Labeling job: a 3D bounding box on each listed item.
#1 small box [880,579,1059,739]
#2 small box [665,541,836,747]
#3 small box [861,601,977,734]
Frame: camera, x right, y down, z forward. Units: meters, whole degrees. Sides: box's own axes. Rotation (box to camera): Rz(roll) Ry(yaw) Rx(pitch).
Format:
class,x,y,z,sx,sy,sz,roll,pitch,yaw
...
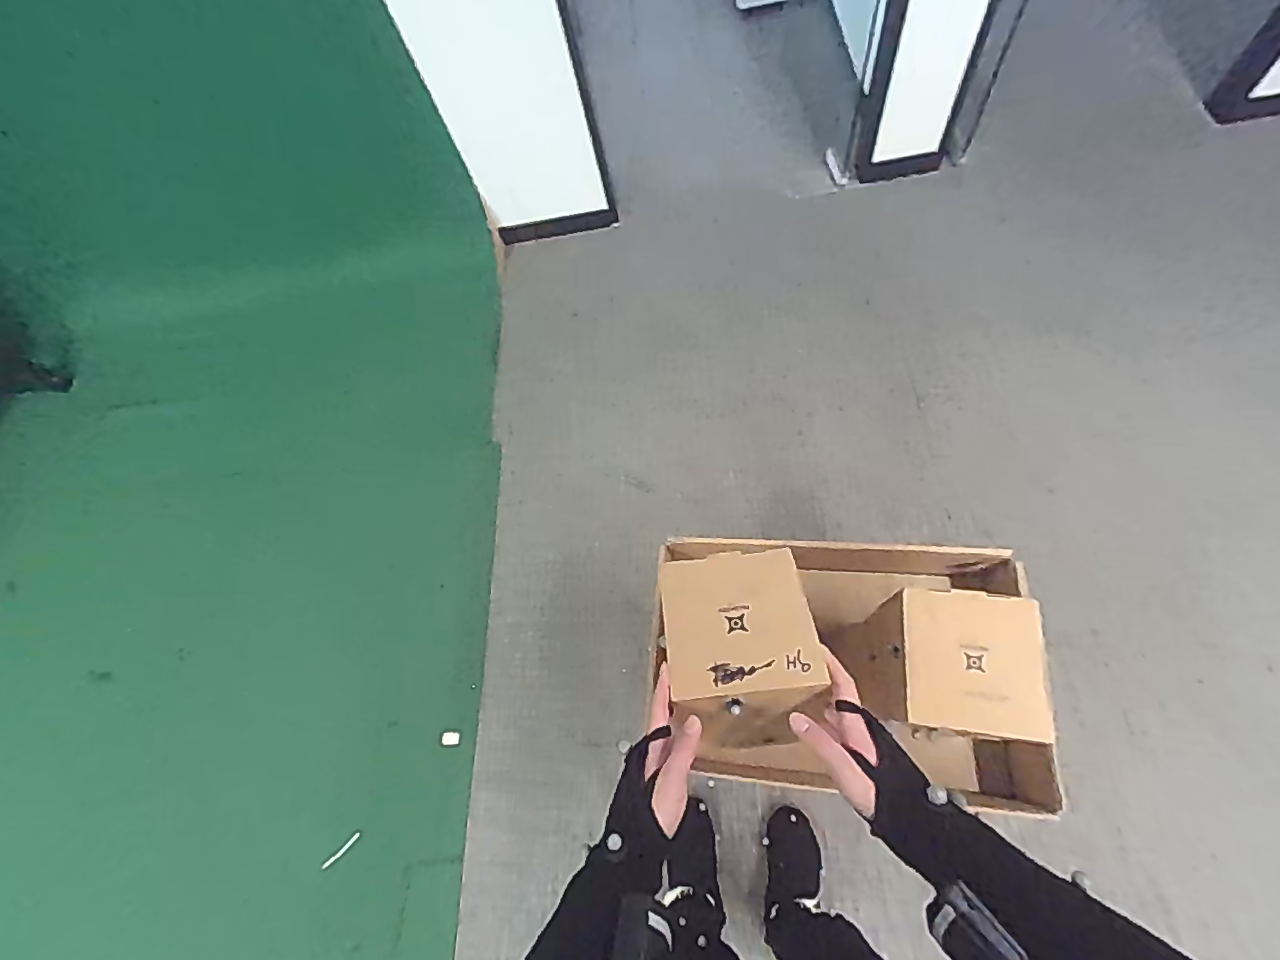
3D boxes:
class,x,y,z,sx,sy,sz,roll,pitch,yaw
small box,0.441,0.252,0.757,0.168,0.176,0.179,5,68,12
small box,0.123,0.199,0.657,0.168,0.176,0.179,-8,46,4
small box,0.473,0.315,0.904,0.168,0.176,0.179,5,68,13
